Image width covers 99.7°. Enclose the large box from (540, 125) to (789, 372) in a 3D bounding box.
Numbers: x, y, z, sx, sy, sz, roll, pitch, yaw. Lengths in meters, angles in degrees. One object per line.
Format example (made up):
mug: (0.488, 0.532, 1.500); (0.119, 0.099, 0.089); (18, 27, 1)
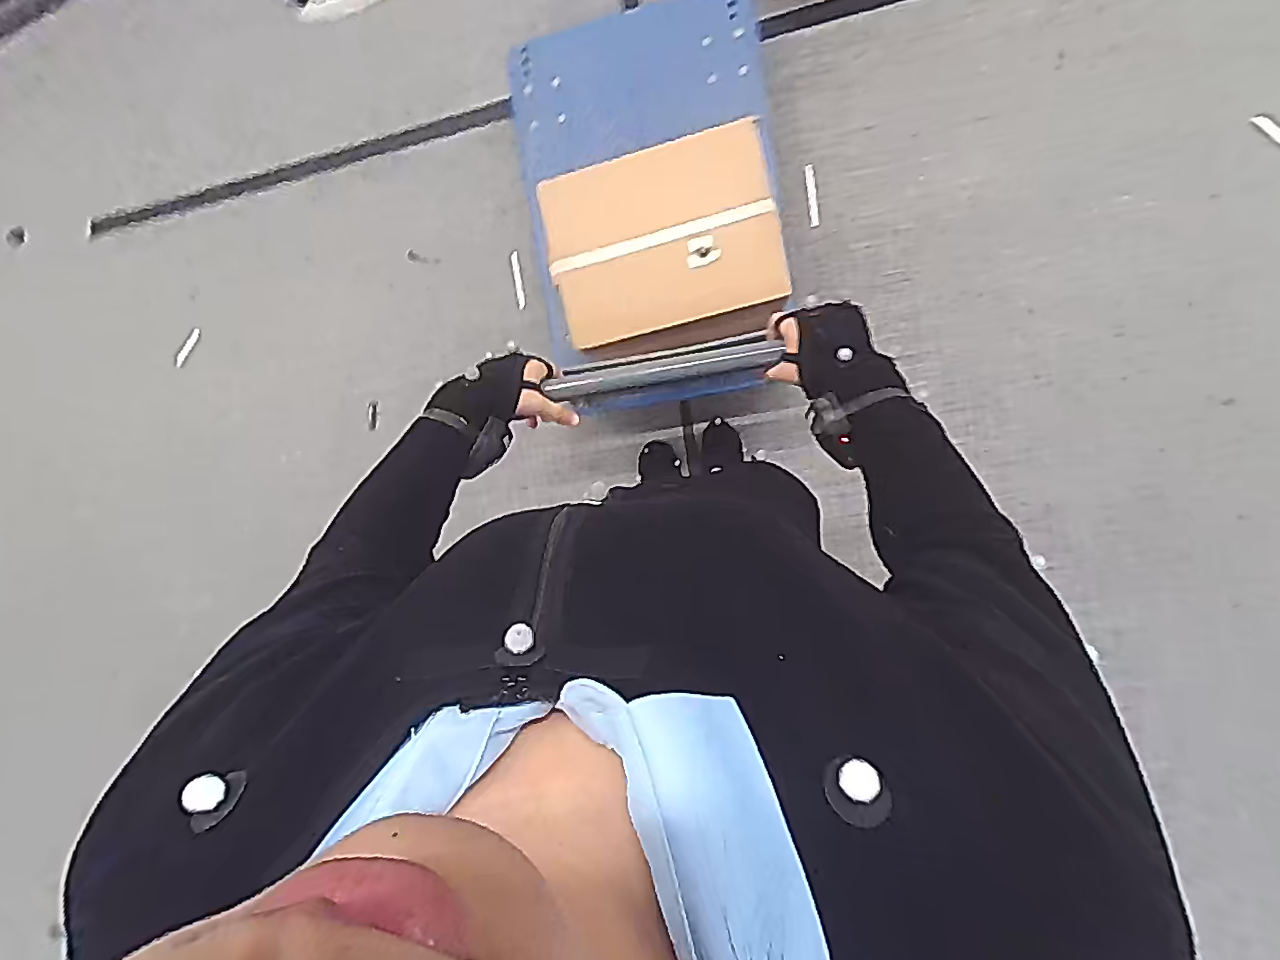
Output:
large box: (0.055, -0.438, 1.124); (0.408, 0.320, 0.320); (-13, 94, 7)
